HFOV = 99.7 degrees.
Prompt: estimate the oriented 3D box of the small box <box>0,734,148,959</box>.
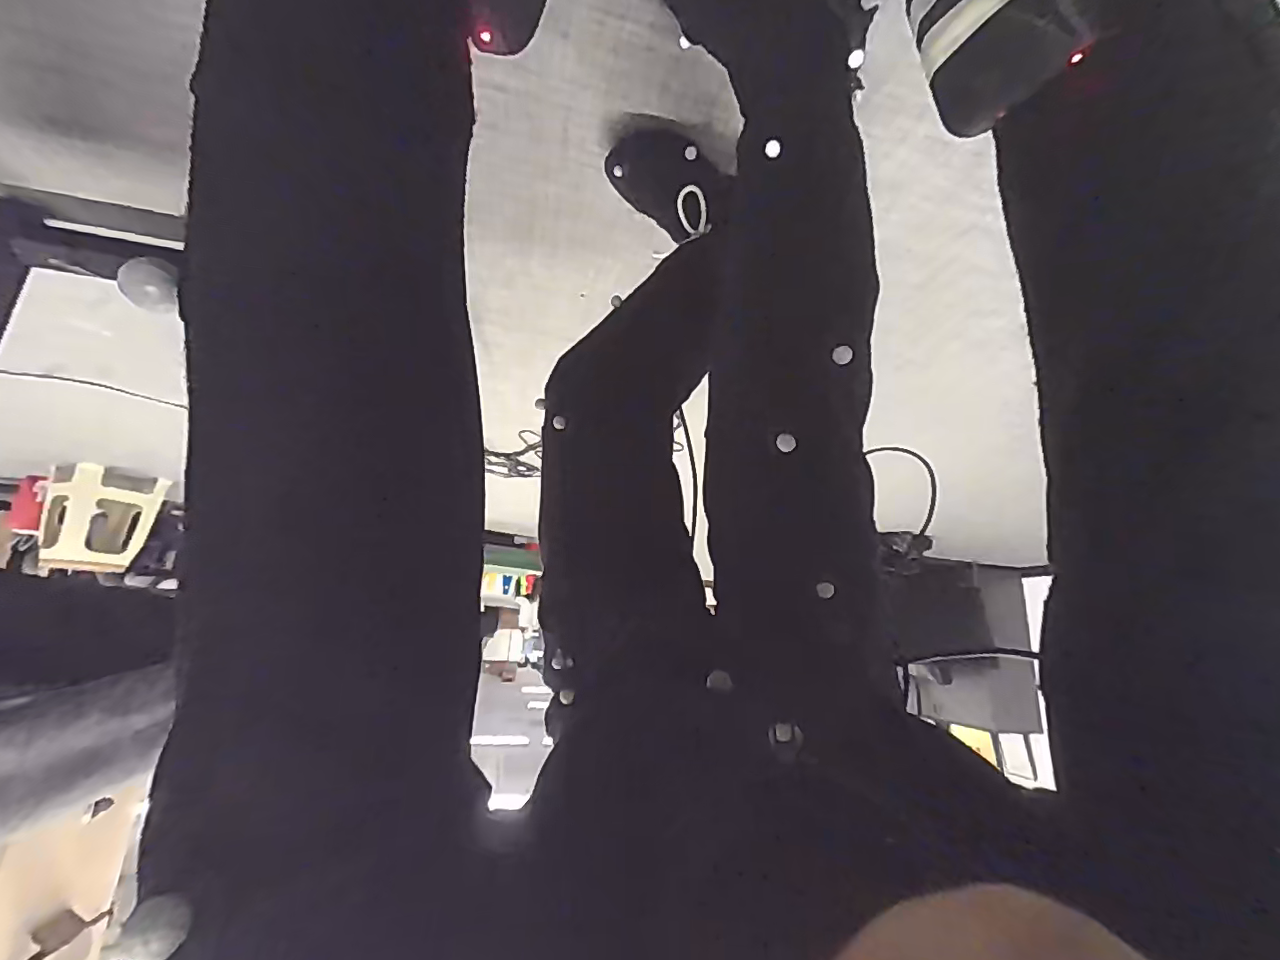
[{"bbox_3d":[-0.580,0.314,0.453,0.179,0.176,0.168,6,163,-11],"label":"small box"}]
